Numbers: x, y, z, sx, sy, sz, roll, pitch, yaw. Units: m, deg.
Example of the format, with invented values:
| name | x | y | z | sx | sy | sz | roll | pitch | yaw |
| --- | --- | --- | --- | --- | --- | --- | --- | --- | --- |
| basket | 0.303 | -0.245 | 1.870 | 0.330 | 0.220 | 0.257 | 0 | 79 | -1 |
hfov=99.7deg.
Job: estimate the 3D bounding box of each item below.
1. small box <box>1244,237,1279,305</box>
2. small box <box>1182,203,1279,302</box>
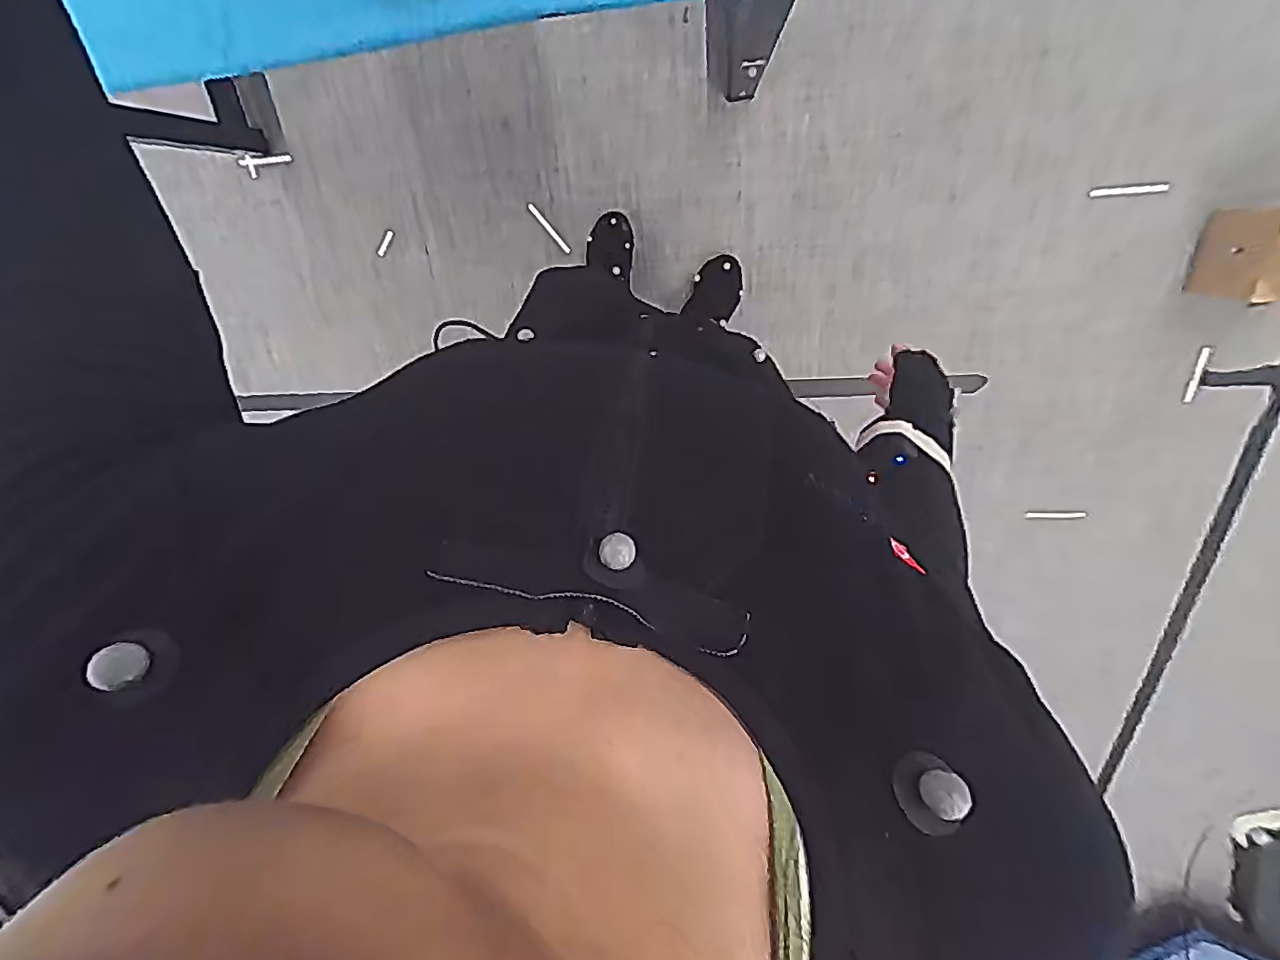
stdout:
| name | x | y | z | sx | sy | sz | roll | pitch | yaw |
| --- | --- | --- | --- | --- | --- | --- | --- | --- | --- |
| small box | 1.291 | -0.398 | 0.968 | 0.168 | 0.176 | 0.179 | 32 | 115 | -10 |
| small box | 1.295 | -0.473 | 1.119 | 0.168 | 0.176 | 0.179 | 0 | 116 | 5 |
